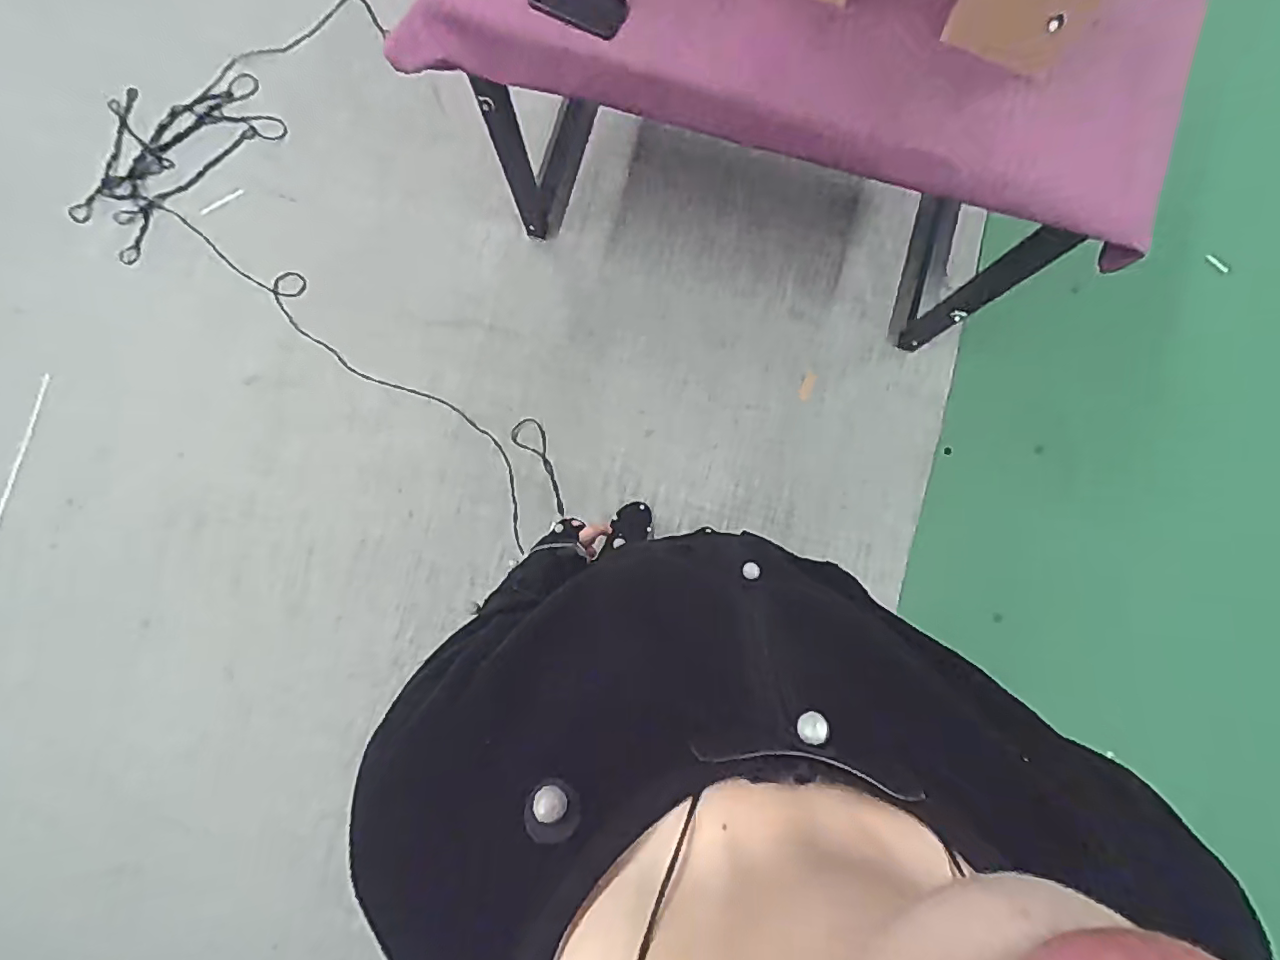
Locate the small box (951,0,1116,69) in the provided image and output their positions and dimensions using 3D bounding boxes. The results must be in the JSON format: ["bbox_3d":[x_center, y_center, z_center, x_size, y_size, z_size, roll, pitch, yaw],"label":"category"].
[{"bbox_3d":[0.600,-0.749,0.780,0.179,0.176,0.168,25,85,3],"label":"small box"}]
